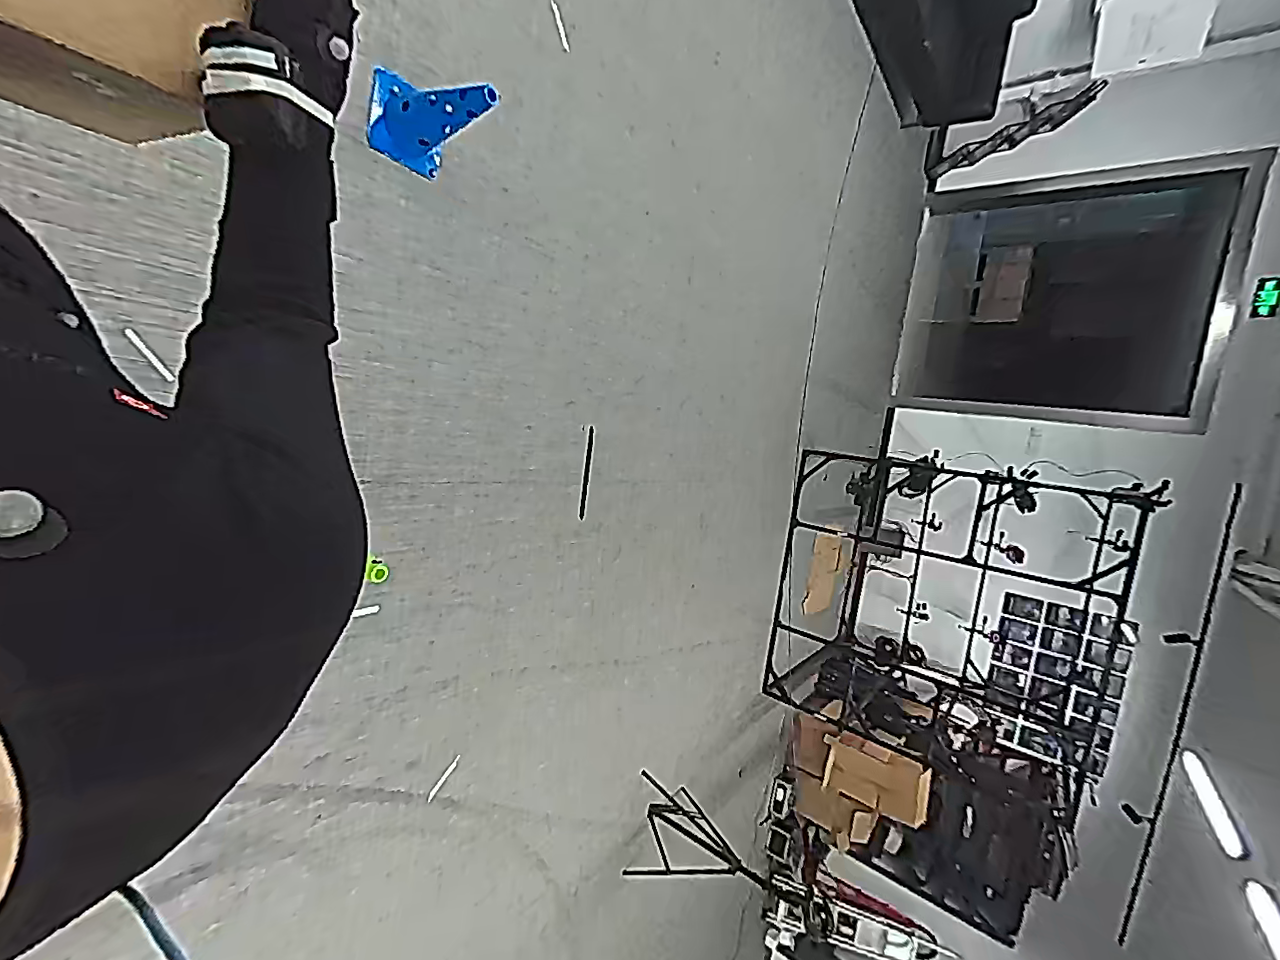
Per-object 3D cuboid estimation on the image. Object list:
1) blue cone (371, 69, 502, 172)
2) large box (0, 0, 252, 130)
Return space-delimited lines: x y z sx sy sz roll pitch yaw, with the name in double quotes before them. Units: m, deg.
"blue cone" -0.490 -0.928 1.354 0.192 0.380 0.193 6 96 -55
"large box" -0.498 -0.457 0.294 0.408 0.320 0.320 -4 110 -55
